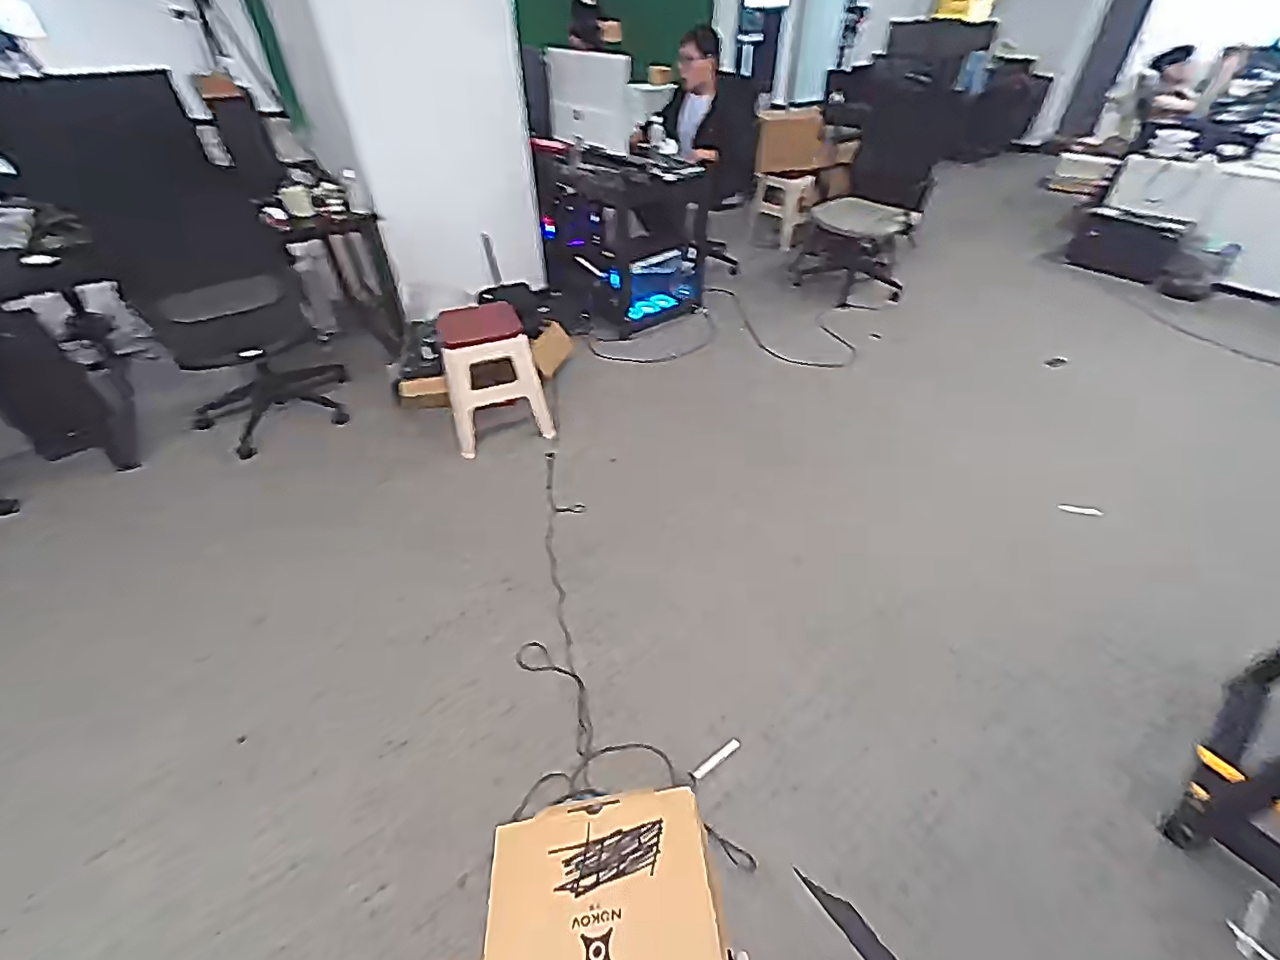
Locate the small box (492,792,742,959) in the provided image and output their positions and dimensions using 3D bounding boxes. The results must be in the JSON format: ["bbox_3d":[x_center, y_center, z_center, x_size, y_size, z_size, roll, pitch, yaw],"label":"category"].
[{"bbox_3d":[-0.007,0.381,0.412,0.168,0.176,0.179,-13,32,2],"label":"small box"}]
